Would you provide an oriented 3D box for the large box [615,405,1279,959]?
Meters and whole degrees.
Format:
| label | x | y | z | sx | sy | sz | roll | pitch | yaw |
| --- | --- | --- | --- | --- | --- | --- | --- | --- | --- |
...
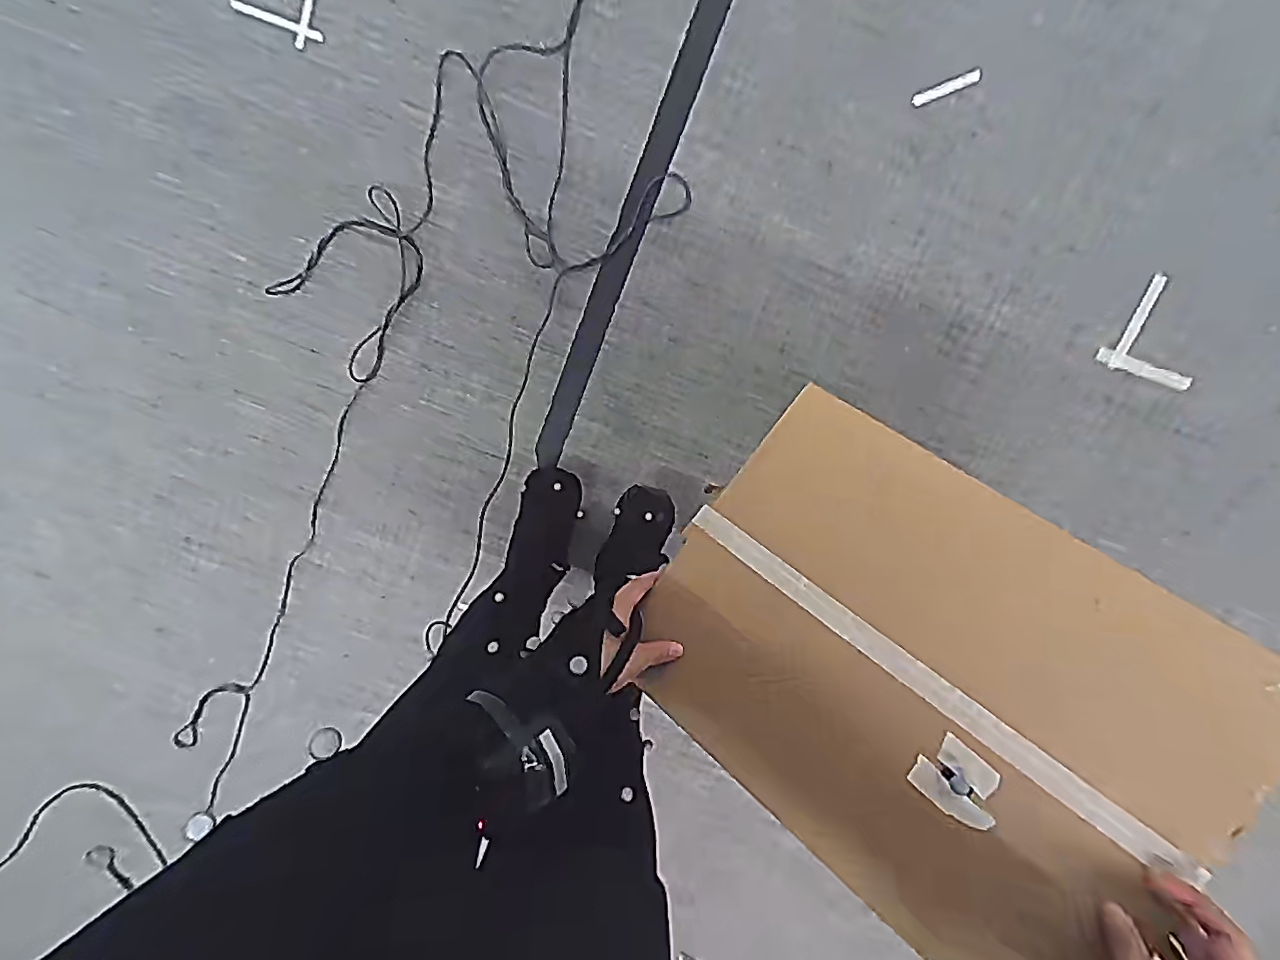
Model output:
| label | x | y | z | sx | sy | sz | roll | pitch | yaw |
| --- | --- | --- | --- | --- | --- | --- | --- | --- | --- |
| large box | 0.251 | 0.189 | 0.571 | 0.408 | 0.320 | 0.320 | 37 | 90 | 20 |
